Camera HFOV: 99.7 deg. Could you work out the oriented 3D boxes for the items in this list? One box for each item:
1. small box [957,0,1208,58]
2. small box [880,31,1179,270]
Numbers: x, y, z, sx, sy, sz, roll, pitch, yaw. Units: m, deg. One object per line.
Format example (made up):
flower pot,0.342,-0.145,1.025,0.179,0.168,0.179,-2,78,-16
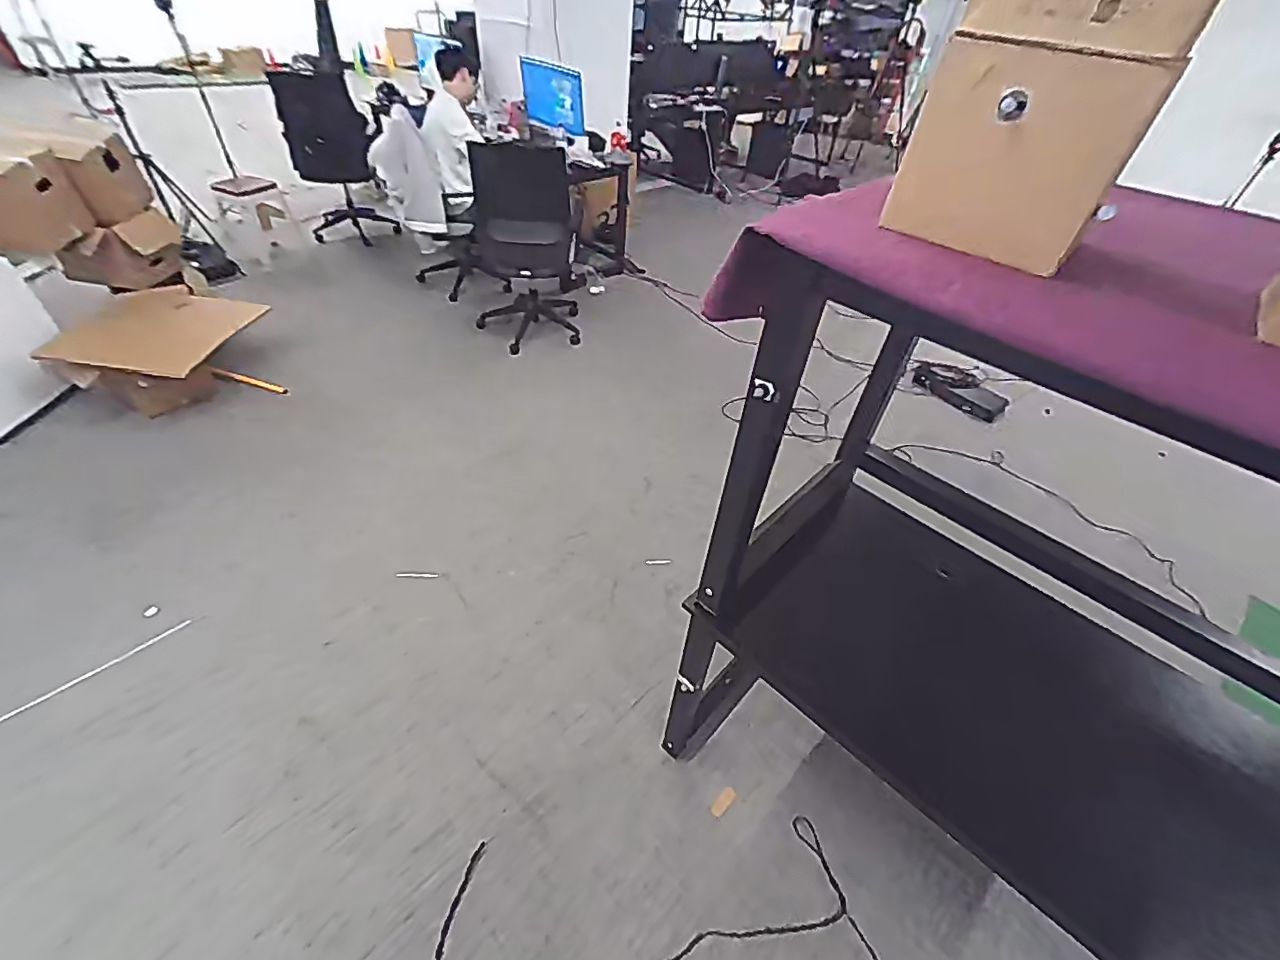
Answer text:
small box,0.392,-0.455,0.440,0.168,0.176,0.179,32,48,25
small box,0.377,-0.334,0.547,0.179,0.176,0.168,33,50,25
